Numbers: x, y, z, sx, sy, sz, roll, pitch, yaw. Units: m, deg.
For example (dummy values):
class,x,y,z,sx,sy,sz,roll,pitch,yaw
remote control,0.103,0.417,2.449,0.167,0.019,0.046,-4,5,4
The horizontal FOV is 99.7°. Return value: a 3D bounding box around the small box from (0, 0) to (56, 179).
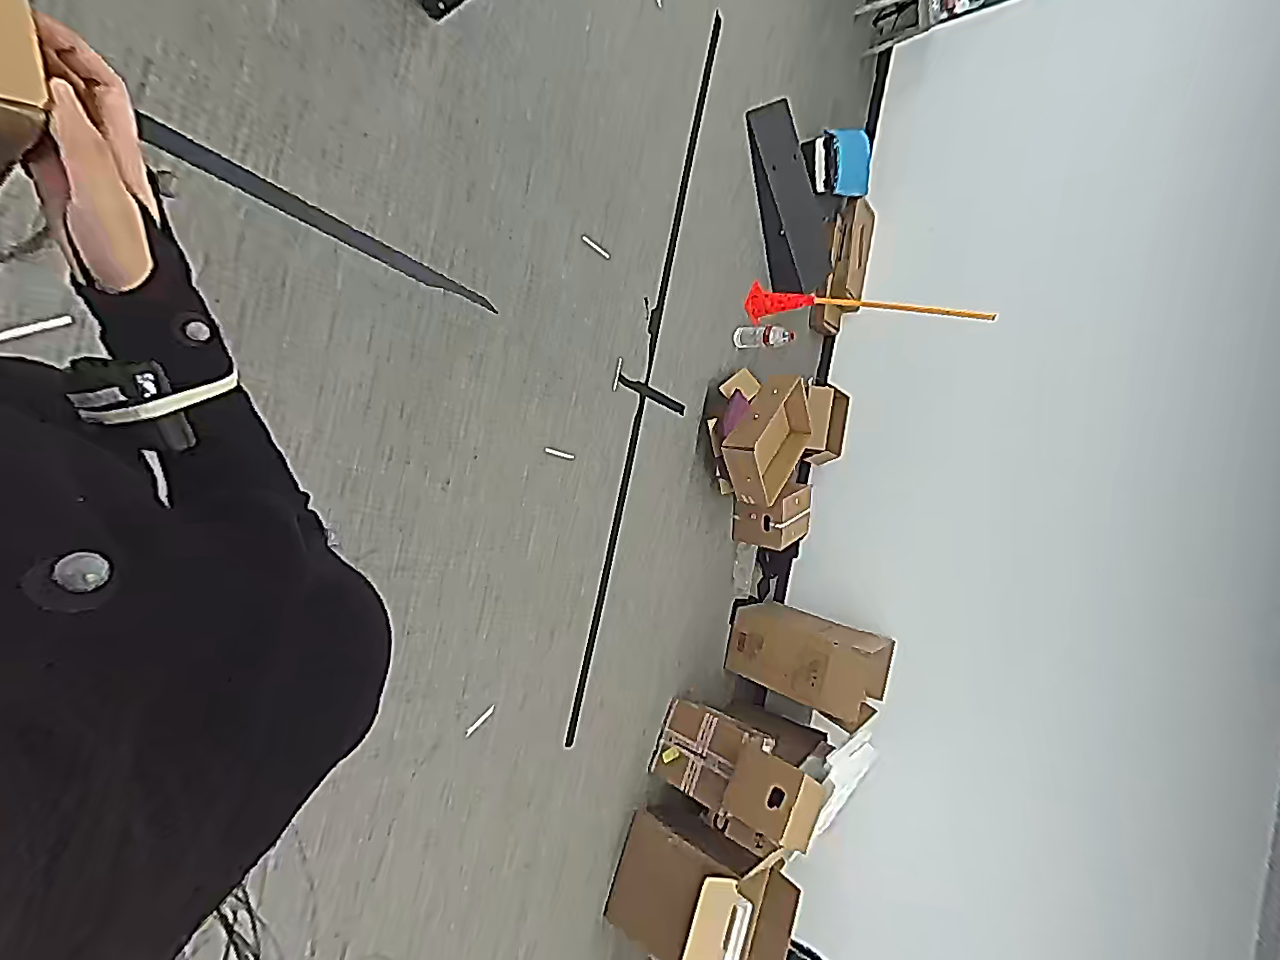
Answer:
class,x,y,z,sx,sy,sz,roll,pitch,yaw
small box,-0.401,-0.252,0.232,0.168,0.176,0.179,-18,108,-55
